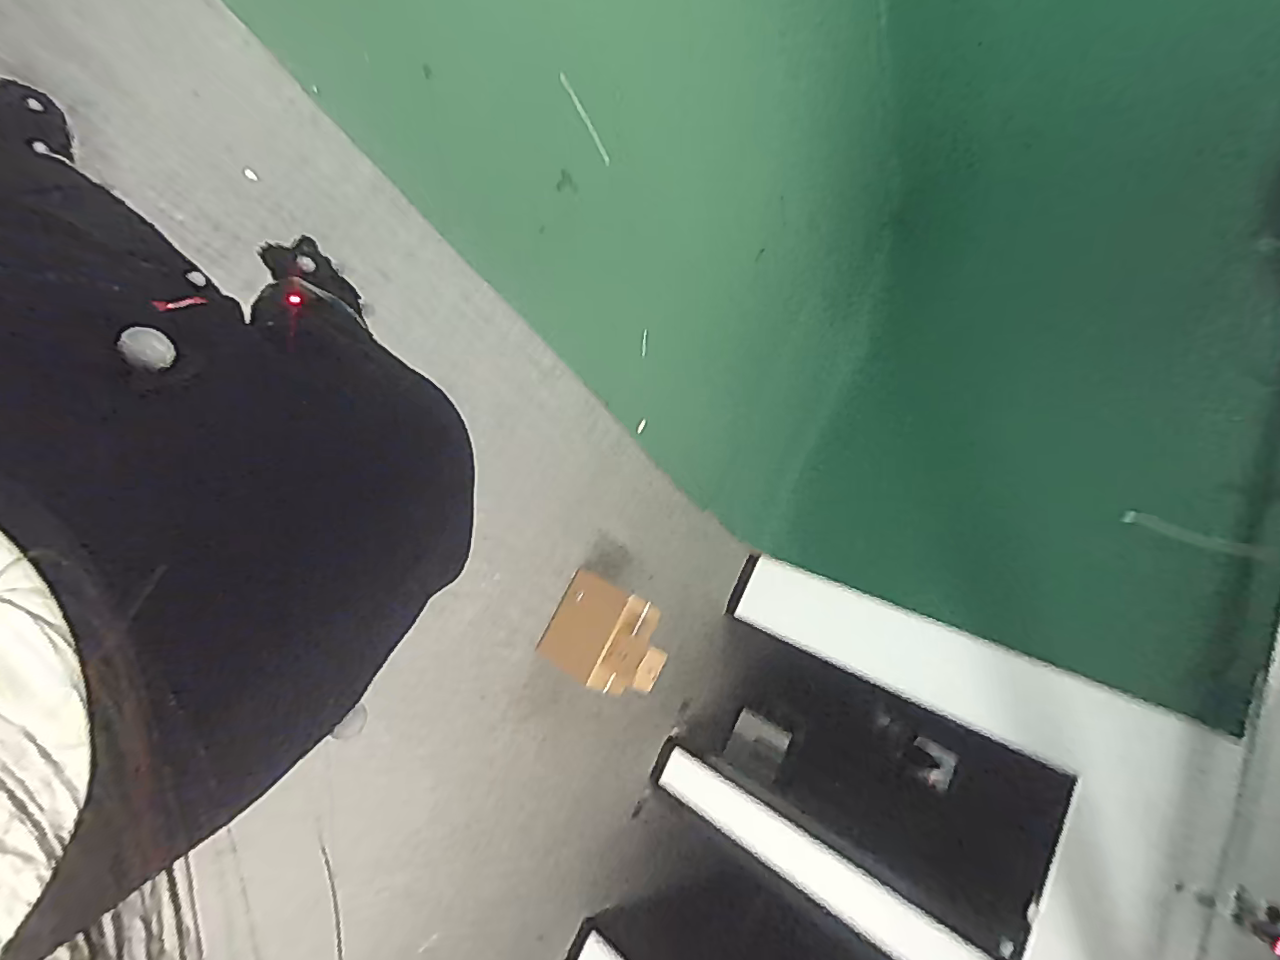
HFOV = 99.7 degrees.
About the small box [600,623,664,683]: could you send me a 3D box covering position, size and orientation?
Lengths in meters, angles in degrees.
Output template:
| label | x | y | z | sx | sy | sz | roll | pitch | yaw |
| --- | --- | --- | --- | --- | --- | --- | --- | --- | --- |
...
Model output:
| label | x | y | z | sx | sy | sz | roll | pitch | yaw |
| --- | --- | --- | --- | --- | --- | --- | --- | --- | --- |
| small box | -0.037 | 0.707 | 2.223 | 0.168 | 0.176 | 0.179 | -61 | 144 | -13 |
